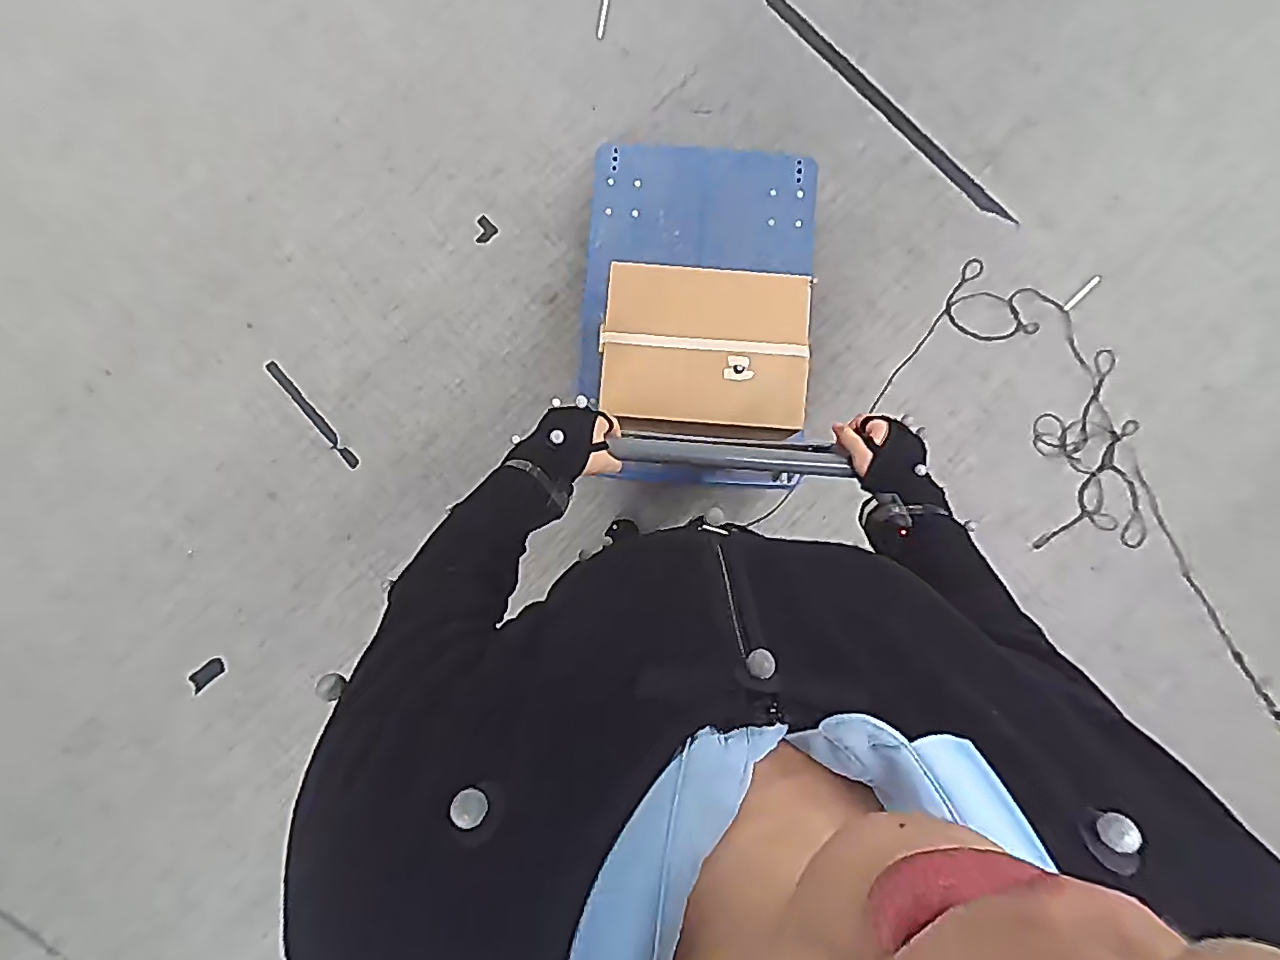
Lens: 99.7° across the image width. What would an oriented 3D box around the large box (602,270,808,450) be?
[{"bbox_3d":[0.127,-0.247,1.221,0.408,0.320,0.320,4,87,-1],"label":"large box"}]
